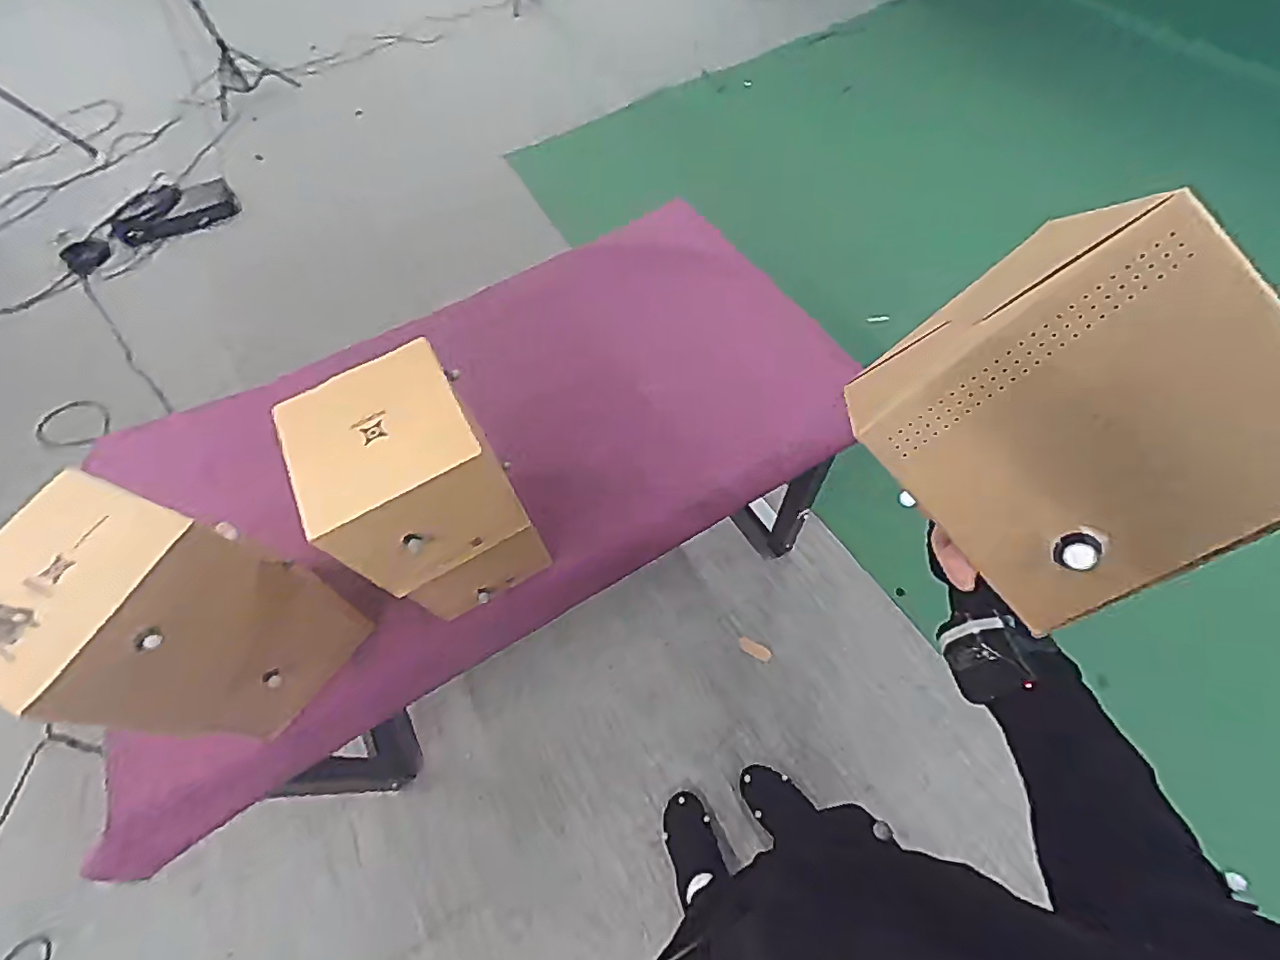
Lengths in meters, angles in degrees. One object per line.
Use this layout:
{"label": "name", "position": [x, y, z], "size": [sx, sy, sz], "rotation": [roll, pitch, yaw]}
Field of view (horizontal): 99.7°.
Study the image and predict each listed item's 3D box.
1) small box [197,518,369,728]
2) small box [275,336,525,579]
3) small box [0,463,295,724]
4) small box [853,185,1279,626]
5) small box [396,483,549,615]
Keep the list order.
{"label": "small box", "position": [-0.486, 0.185, 0.676], "size": [0.168, 0.176, 0.179], "rotation": [29, 67, 19]}
{"label": "small box", "position": [-0.246, -0.013, 0.584], "size": [0.168, 0.176, 0.179], "rotation": [-29, 61, -10]}
{"label": "small box", "position": [-0.491, 0.117, 0.526], "size": [0.168, 0.176, 0.179], "rotation": [18, 63, 14]}
{"label": "small box", "position": [0.263, -0.047, 0.351], "size": [0.179, 0.168, 0.176], "rotation": [-41, 93, 26]}
{"label": "small box", "position": [-0.244, 0.054, 0.733], "size": [0.168, 0.176, 0.179], "rotation": [-29, 62, -10]}
